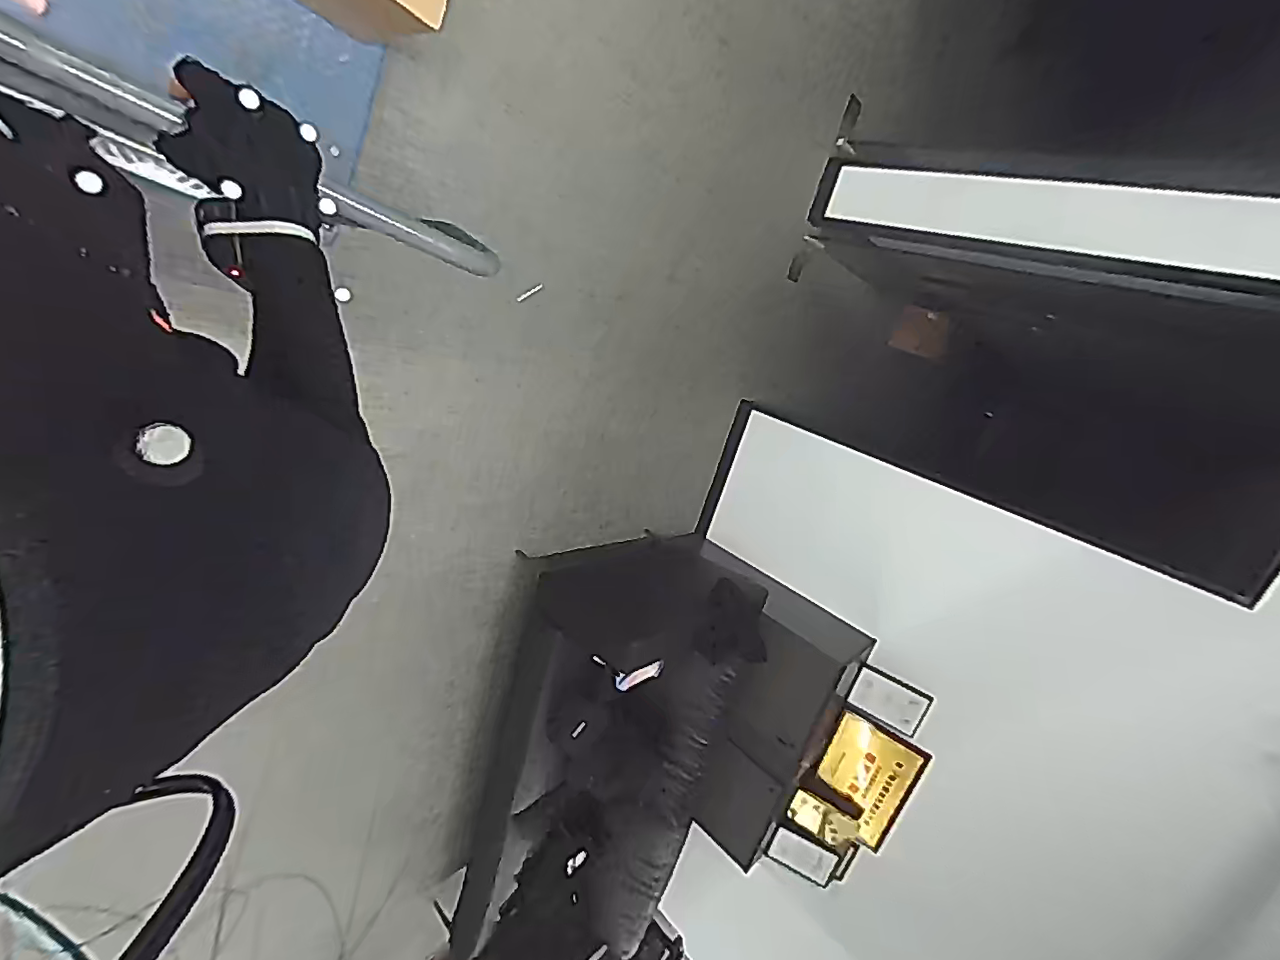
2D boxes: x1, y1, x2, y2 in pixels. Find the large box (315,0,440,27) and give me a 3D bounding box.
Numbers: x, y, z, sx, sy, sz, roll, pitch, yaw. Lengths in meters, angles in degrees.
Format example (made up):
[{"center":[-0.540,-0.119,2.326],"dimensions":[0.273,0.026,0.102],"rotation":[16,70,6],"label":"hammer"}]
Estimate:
[{"center":[-0.497,-0.928,0.747],"dimensions":[0.408,0.320,0.320],"rotation":[4,111,-51],"label":"large box"}]
